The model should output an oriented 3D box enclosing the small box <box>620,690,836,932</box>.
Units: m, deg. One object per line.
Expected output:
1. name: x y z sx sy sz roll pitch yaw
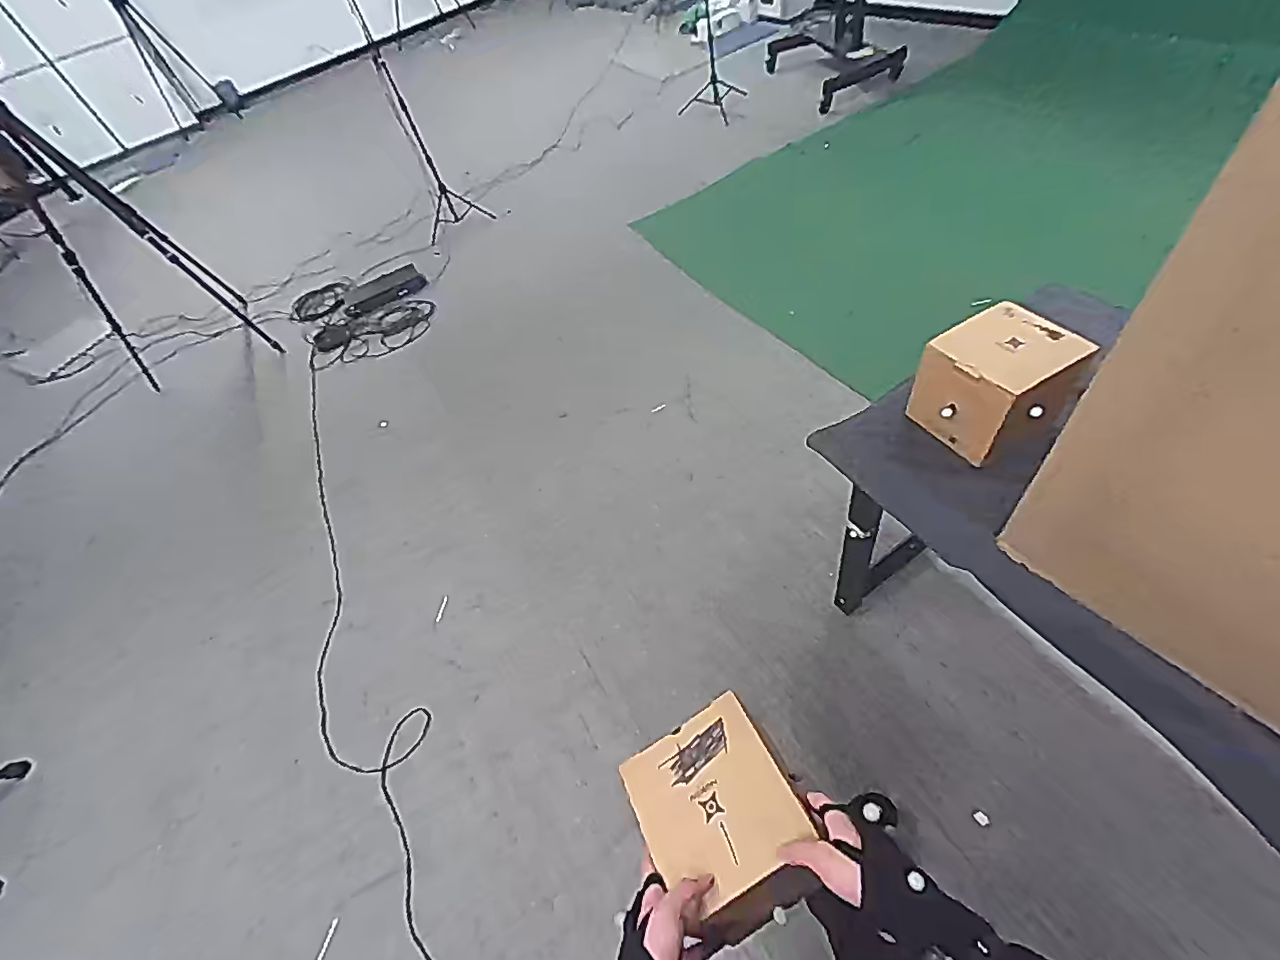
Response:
1. small box: 0.105 0.396 0.648 0.168 0.176 0.179 -35 41 0
